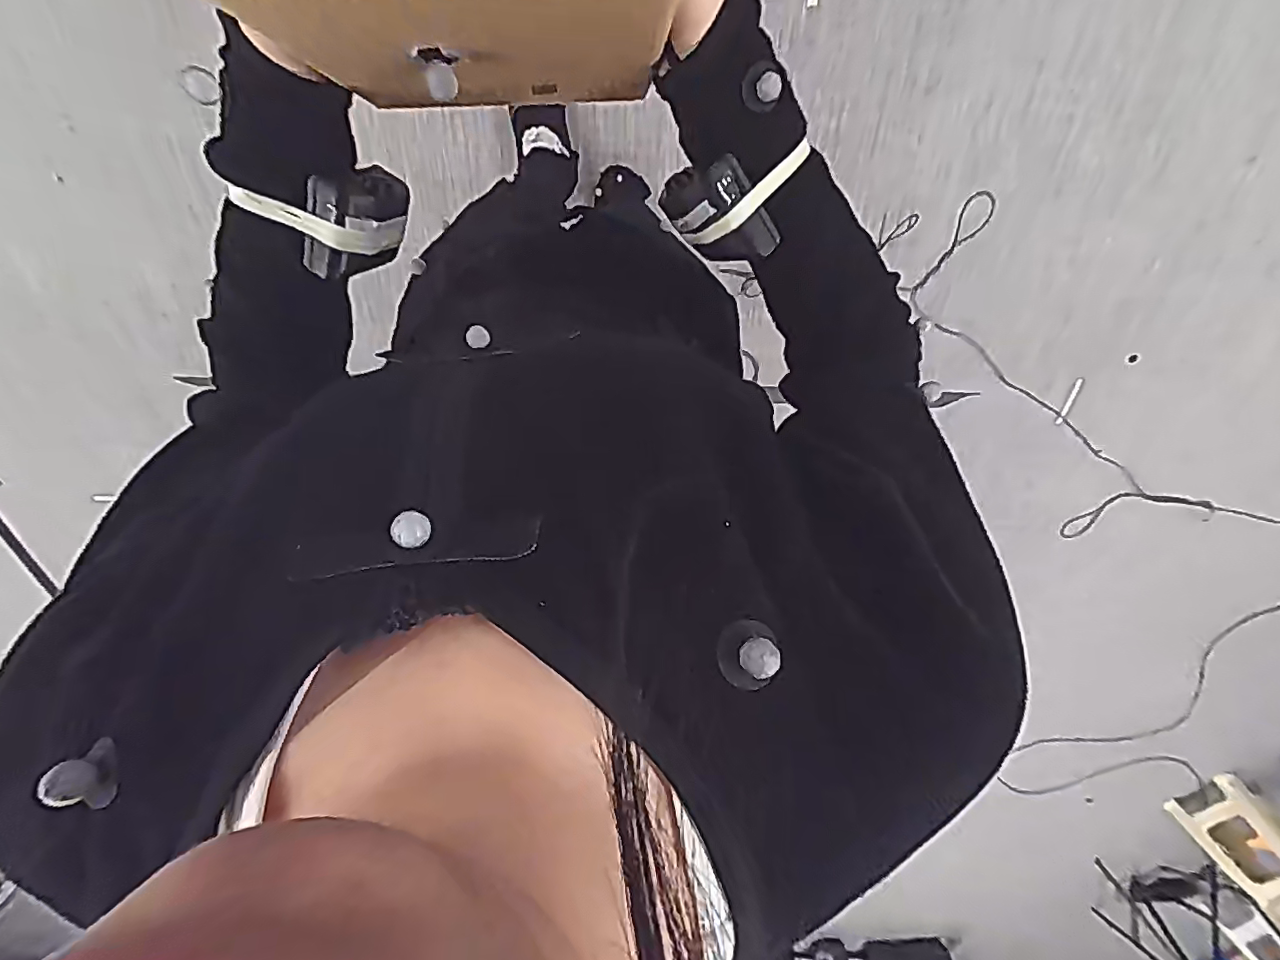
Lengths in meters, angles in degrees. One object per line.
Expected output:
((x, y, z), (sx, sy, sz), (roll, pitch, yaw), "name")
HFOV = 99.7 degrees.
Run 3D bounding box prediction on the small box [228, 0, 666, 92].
((-0.072, -0.276, 0.217), (0.168, 0.176, 0.179), (-4, 113, -3), "small box")
